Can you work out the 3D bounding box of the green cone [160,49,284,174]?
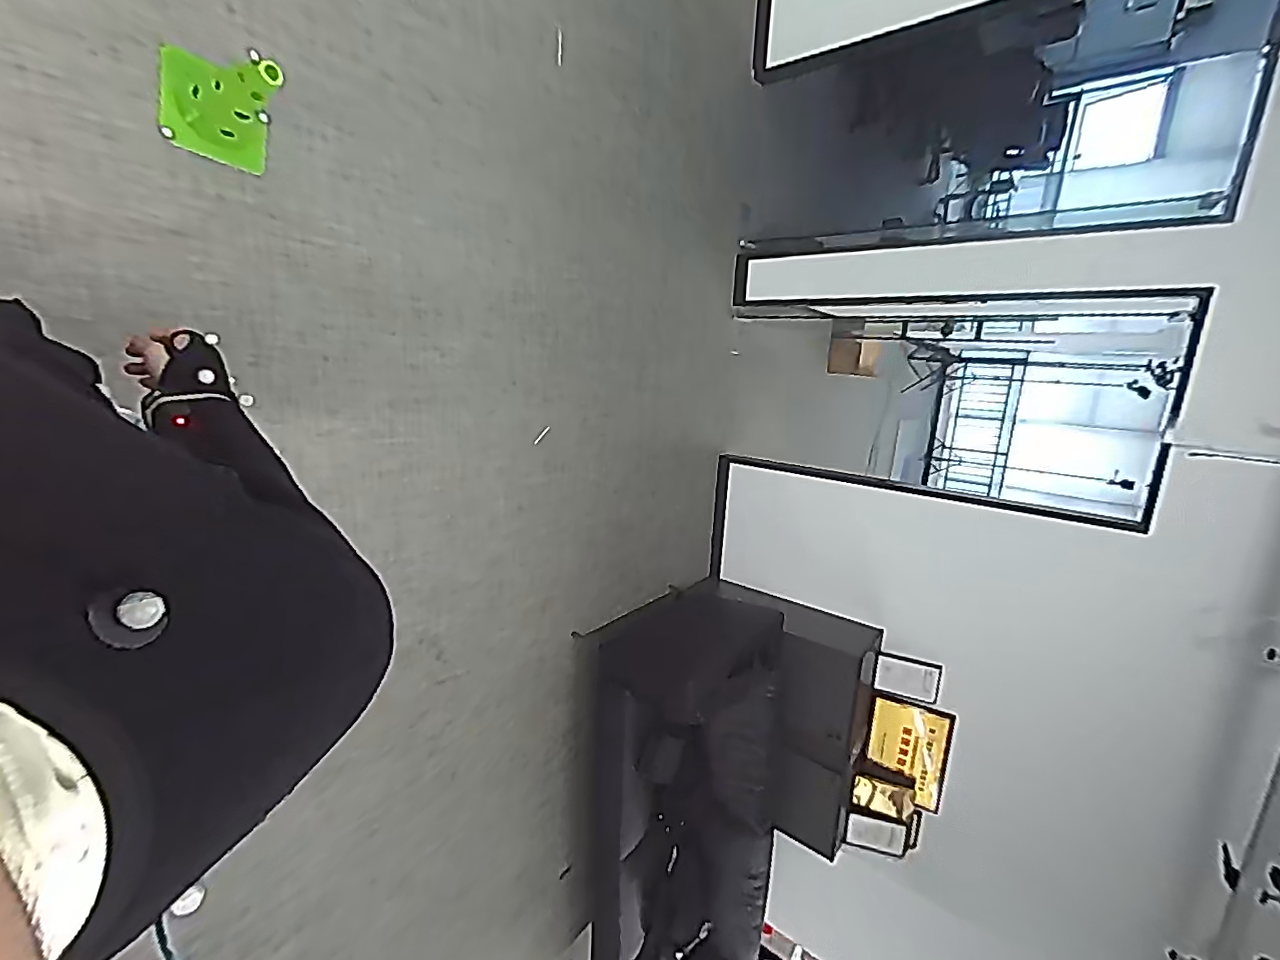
[{"bbox_3d":[-0.851,-0.823,1.157,0.200,0.368,0.202,-3,101,-53],"label":"green cone"}]
